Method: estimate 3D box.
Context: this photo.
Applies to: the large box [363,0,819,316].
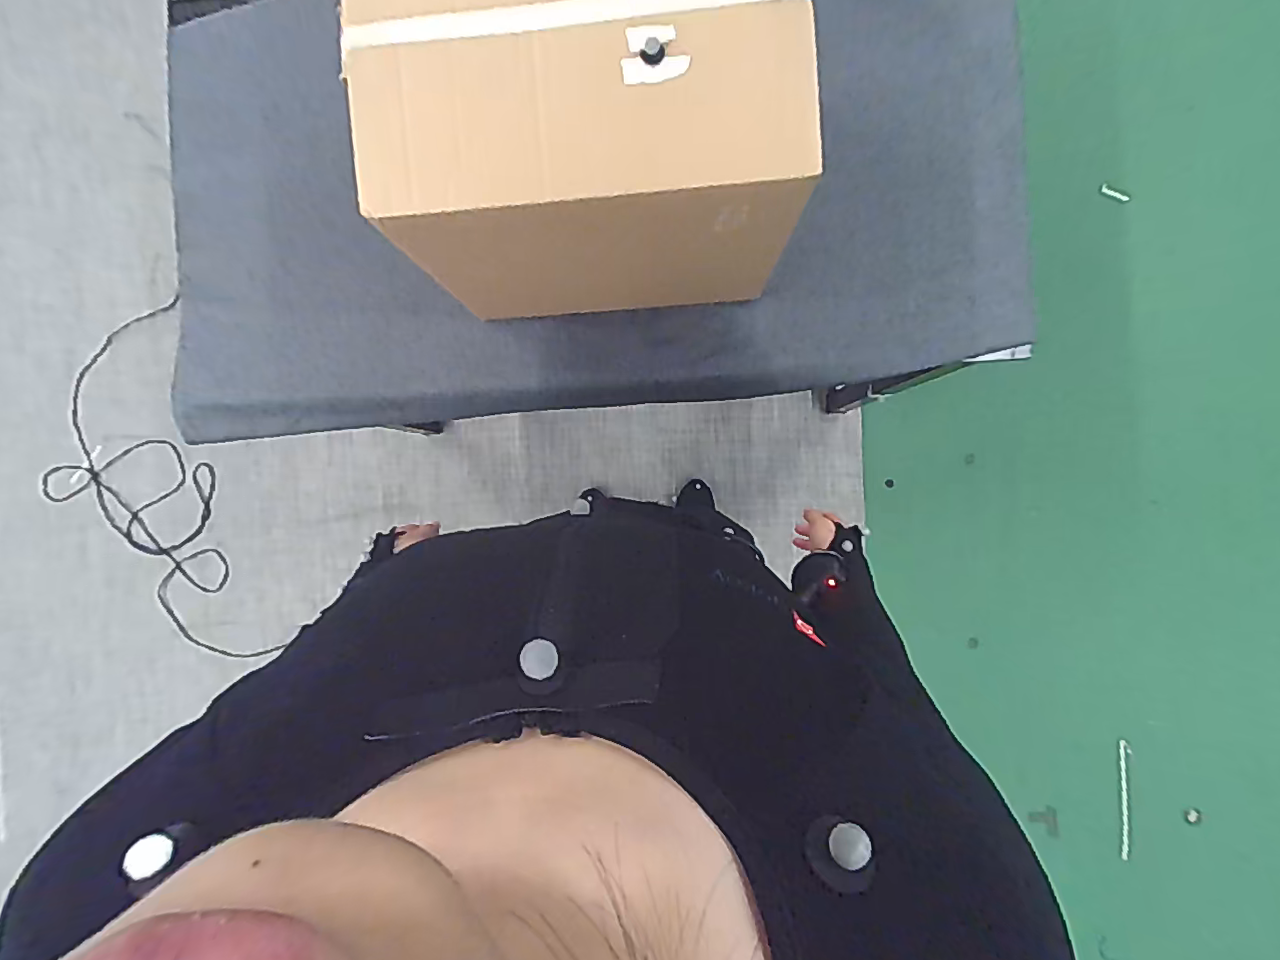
[{"bbox_3d":[-0.048,-0.405,0.631,0.408,0.320,0.320,-4,90,2],"label":"large box"}]
